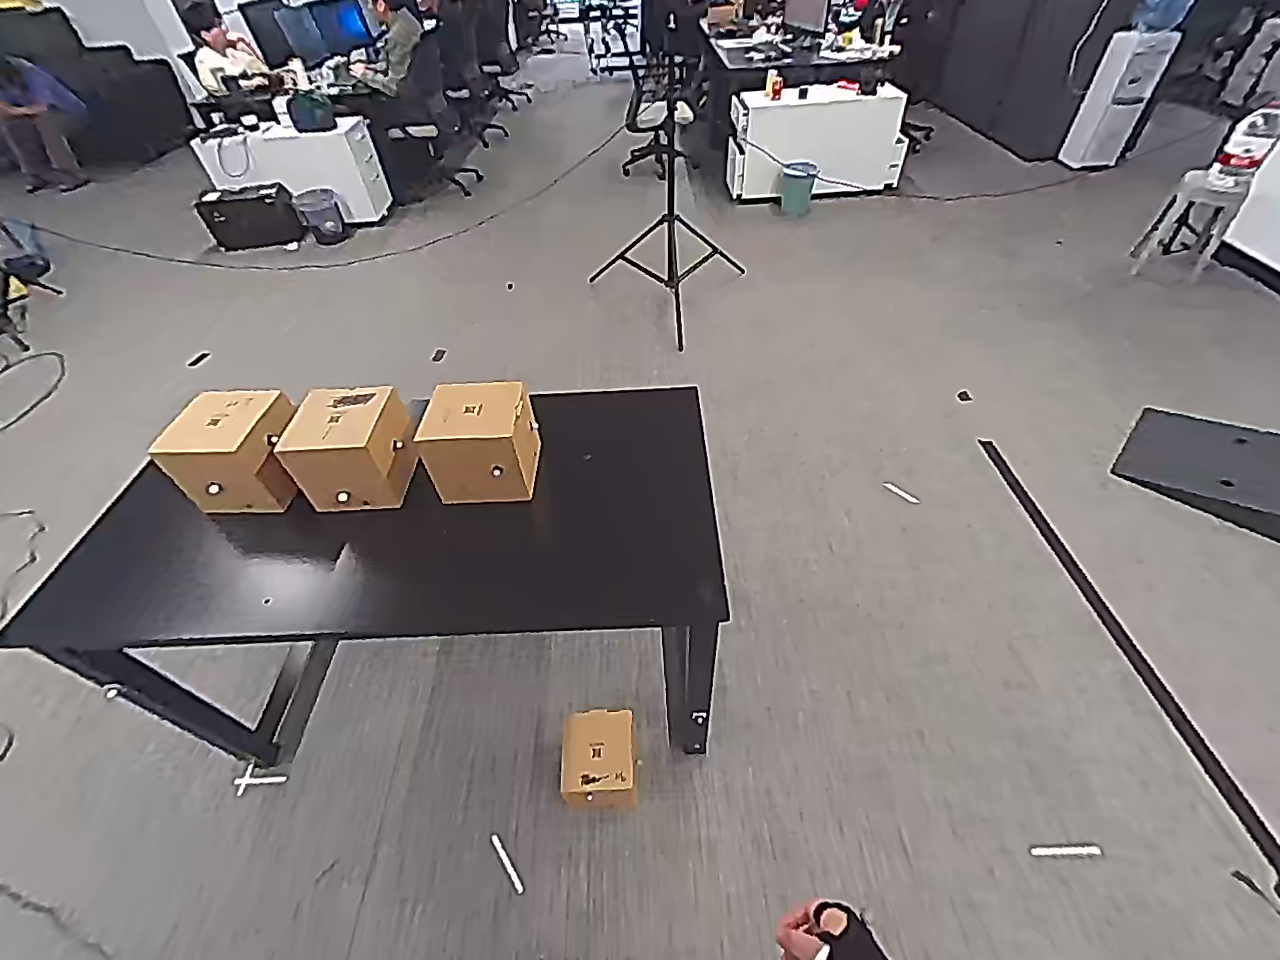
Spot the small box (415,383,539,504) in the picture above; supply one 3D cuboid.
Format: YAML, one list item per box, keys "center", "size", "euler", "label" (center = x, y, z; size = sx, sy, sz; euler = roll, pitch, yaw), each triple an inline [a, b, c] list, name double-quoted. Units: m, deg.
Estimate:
- center: [-0.301, -0.069, 1.047]
  size: [0.179, 0.176, 0.168]
  euler: [-4, 45, 2]
  label: "small box"

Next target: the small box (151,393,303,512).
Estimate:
- center: [-0.774, -0.050, 1.061]
  size: [0.168, 0.176, 0.179]
  euler: [0, 46, 3]
  label: "small box"

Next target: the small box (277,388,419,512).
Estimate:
- center: [-0.550, -0.057, 1.050]
  size: [0.168, 0.176, 0.179]
  euler: [-3, 48, 0]
  label: "small box"

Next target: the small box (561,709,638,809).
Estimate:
- center: [-0.093, 0.682, 1.321]
  size: [0.168, 0.176, 0.179]
  euler: [-4, 46, 1]
  label: "small box"
